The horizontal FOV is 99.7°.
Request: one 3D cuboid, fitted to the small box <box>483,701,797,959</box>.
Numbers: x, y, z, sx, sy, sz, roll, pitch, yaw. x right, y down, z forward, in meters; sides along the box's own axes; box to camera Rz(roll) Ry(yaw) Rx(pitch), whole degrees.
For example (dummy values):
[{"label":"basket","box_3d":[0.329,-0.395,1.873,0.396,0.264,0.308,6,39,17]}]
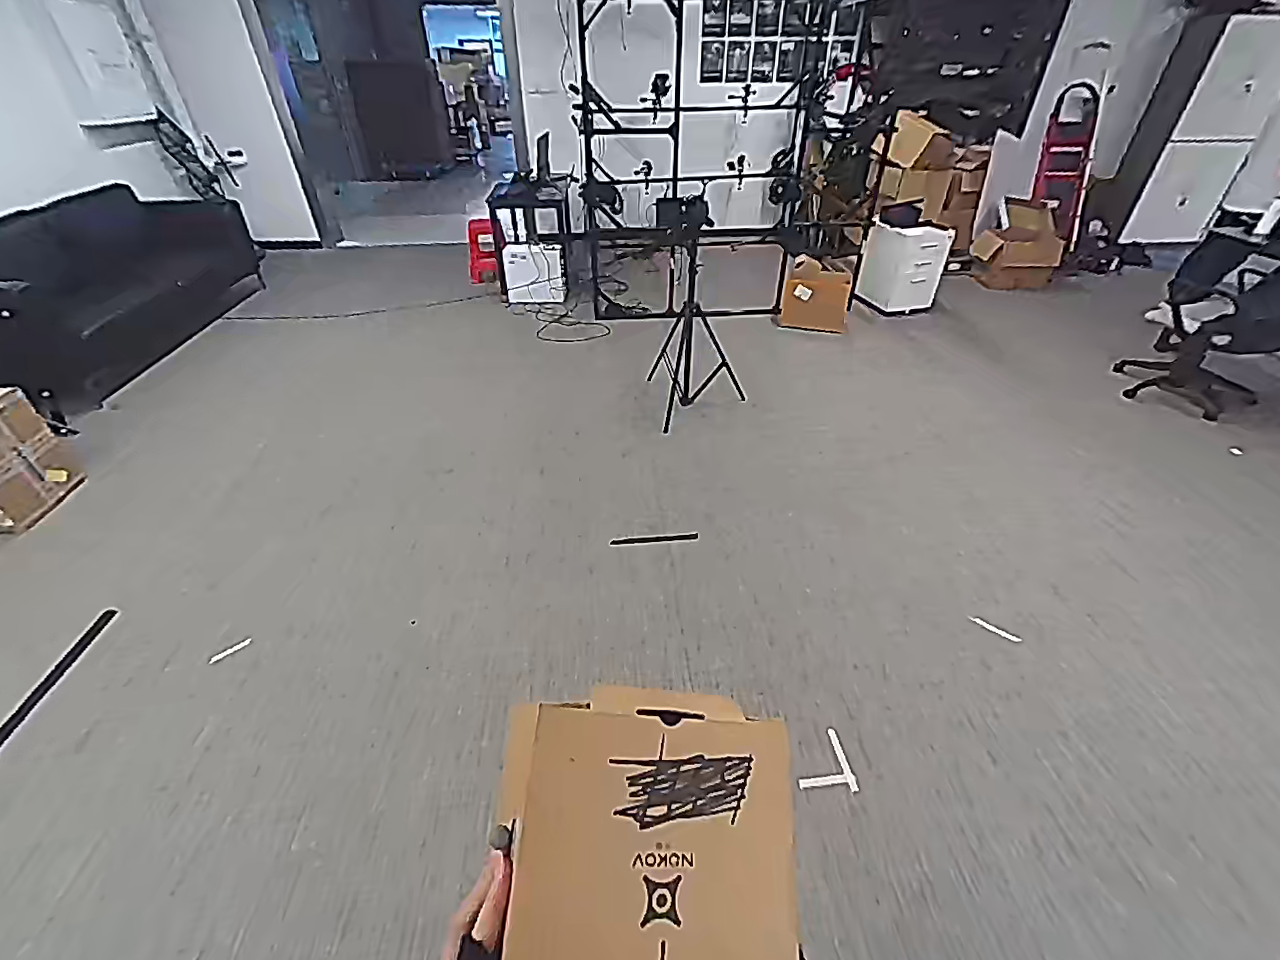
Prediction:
[{"label":"small box","box_3d":[-0.011,0.256,0.374,0.168,0.176,0.179,11,65,-14]}]
